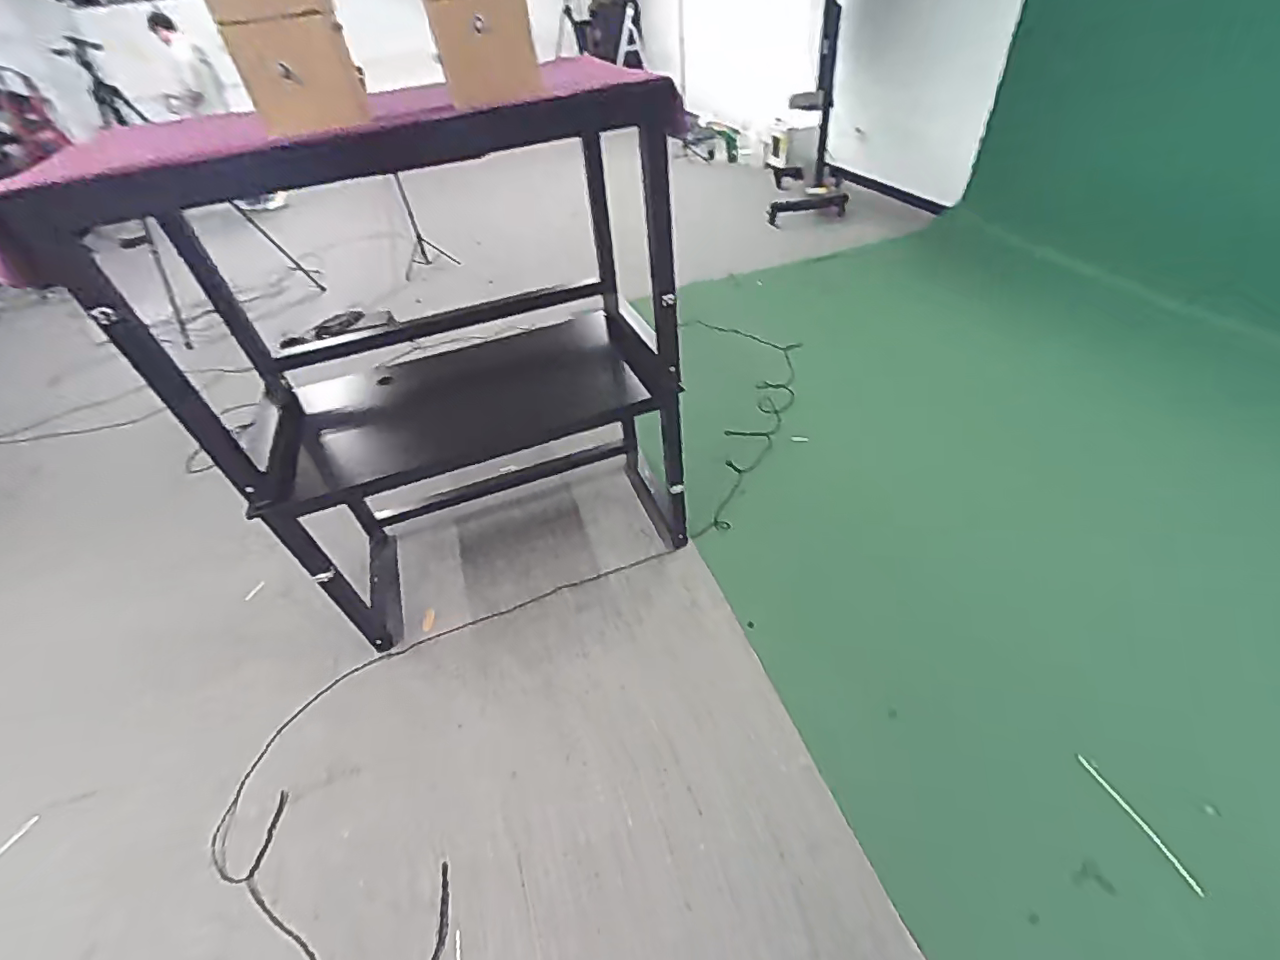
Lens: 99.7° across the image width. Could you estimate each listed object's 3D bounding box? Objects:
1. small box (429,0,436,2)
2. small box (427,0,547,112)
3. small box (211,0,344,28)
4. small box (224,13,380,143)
[{"bbox_3d":[-0.313,-0.964,0.952,0.179,0.176,0.168,-20,45,-11],"label":"small box"},{"bbox_3d":[-0.298,-0.844,1.064,0.179,0.176,0.168,-18,45,-10],"label":"small box"},{"bbox_3d":[-0.633,-0.873,0.904,0.179,0.176,0.168,-14,43,-7],"label":"small box"},{"bbox_3d":[-0.618,-0.752,1.014,0.179,0.176,0.168,-16,43,-8],"label":"small box"}]
